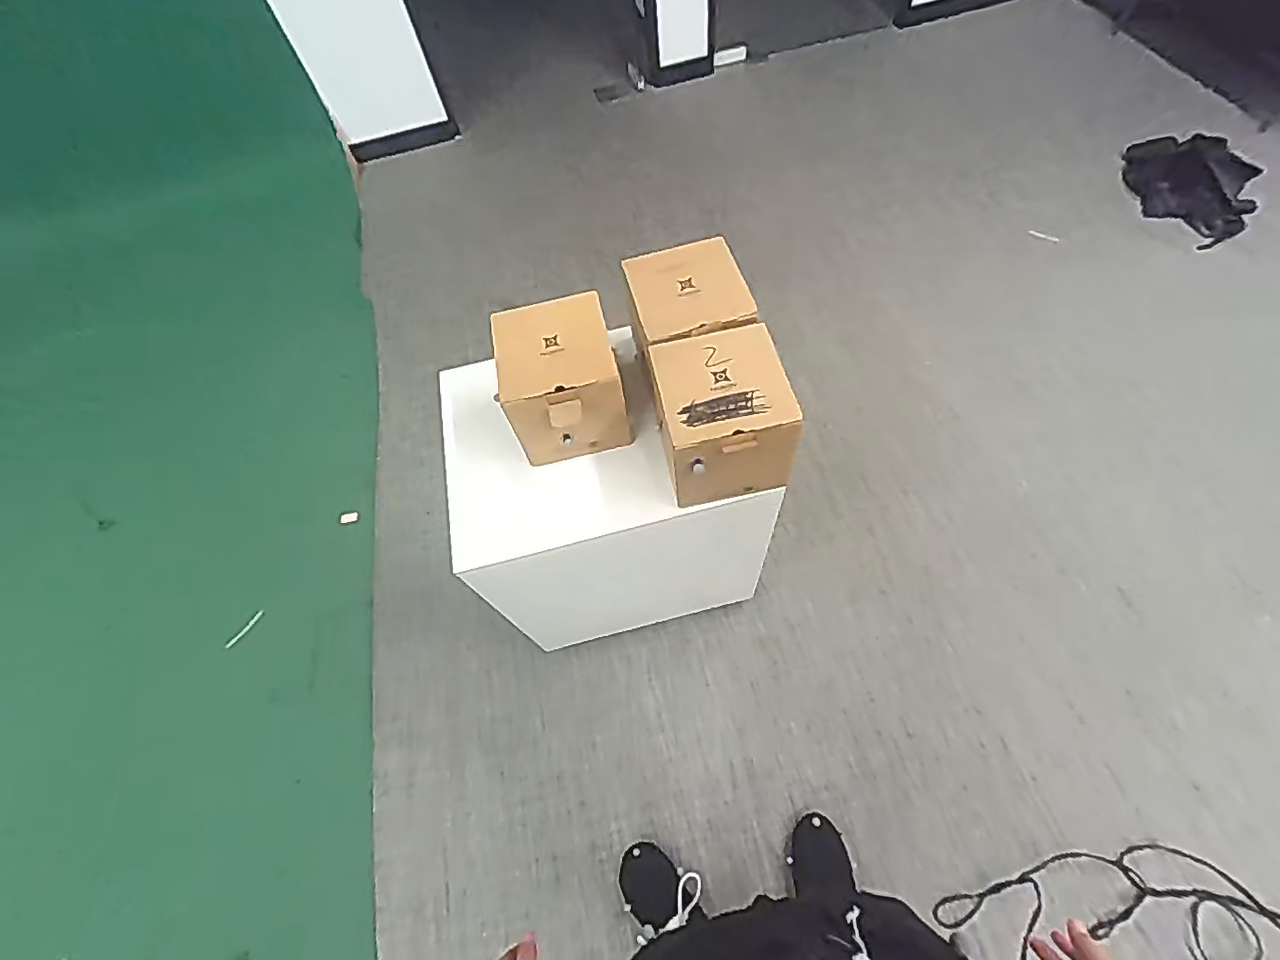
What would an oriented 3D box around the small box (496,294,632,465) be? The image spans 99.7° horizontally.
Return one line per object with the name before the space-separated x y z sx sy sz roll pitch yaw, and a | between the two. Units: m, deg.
small box | -0.113 -0.150 0.835 0.168 0.176 0.179 -14 61 -1
